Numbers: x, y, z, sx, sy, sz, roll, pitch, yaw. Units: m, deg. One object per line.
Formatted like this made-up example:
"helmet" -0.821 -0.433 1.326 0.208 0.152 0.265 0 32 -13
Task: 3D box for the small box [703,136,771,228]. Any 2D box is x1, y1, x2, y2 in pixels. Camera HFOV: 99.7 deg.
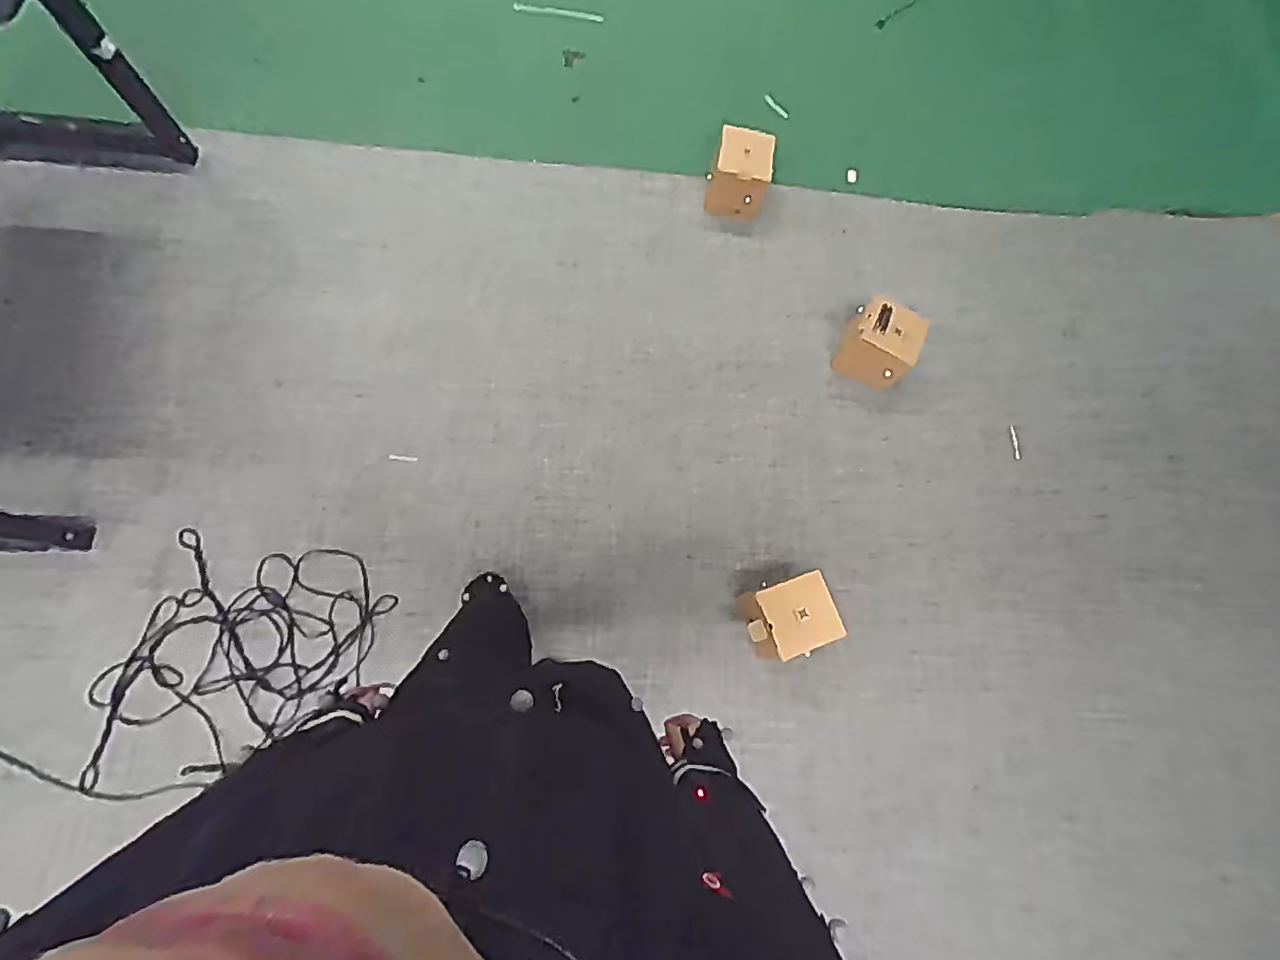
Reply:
"small box" 0.301 -0.932 1.706 0.168 0.176 0.179 10 72 -6

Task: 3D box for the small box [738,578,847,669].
"small box" 0.369 0.353 1.341 0.179 0.176 0.168 -18 77 -11
